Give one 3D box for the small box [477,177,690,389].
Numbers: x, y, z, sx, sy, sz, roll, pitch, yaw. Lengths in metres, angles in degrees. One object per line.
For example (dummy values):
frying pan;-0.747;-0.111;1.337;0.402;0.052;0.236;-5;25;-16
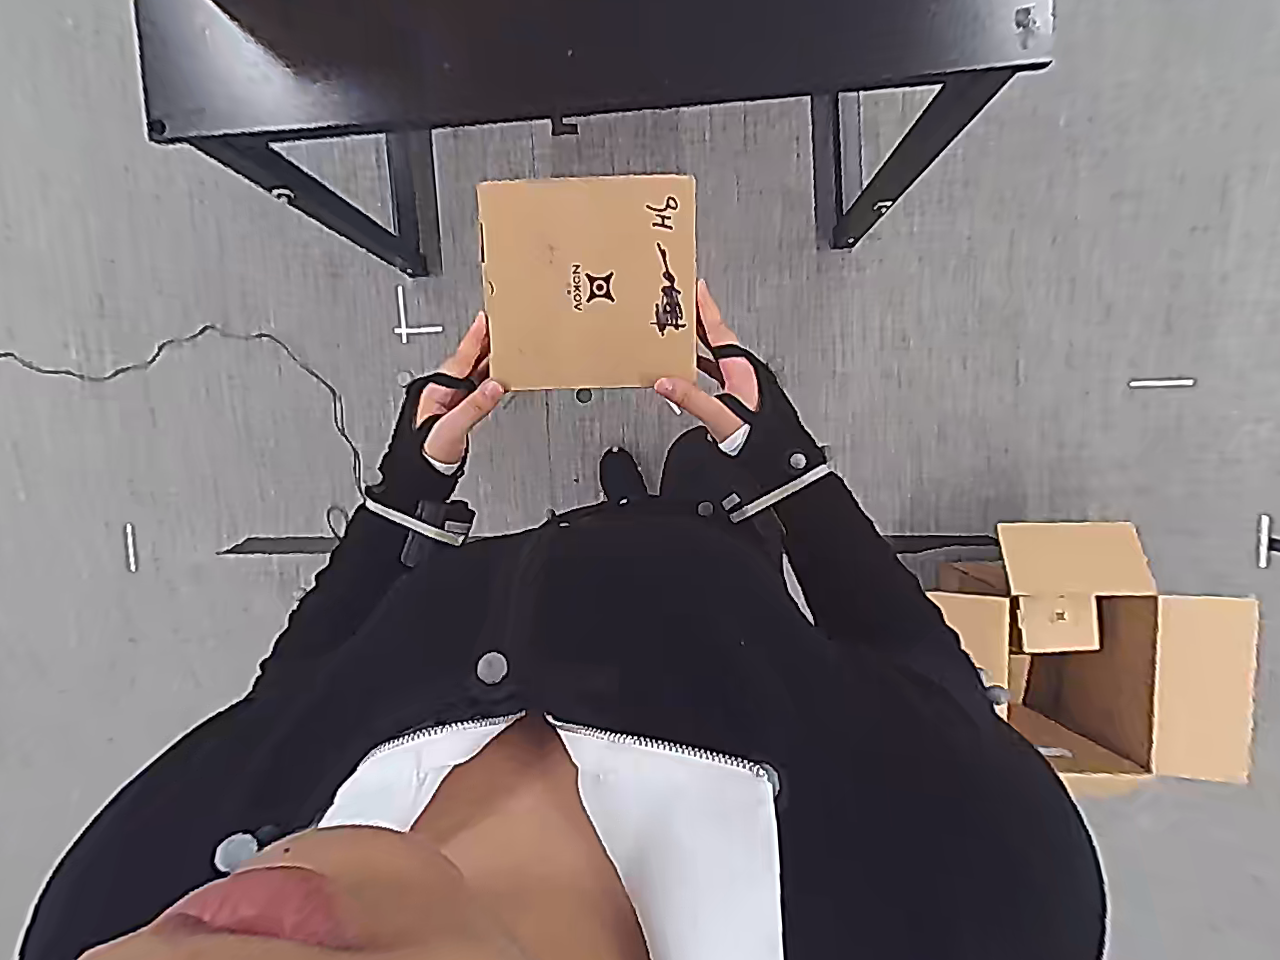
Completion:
small box;-0.043;-0.174;0.527;0.179;0.176;0.168;0;99;2
